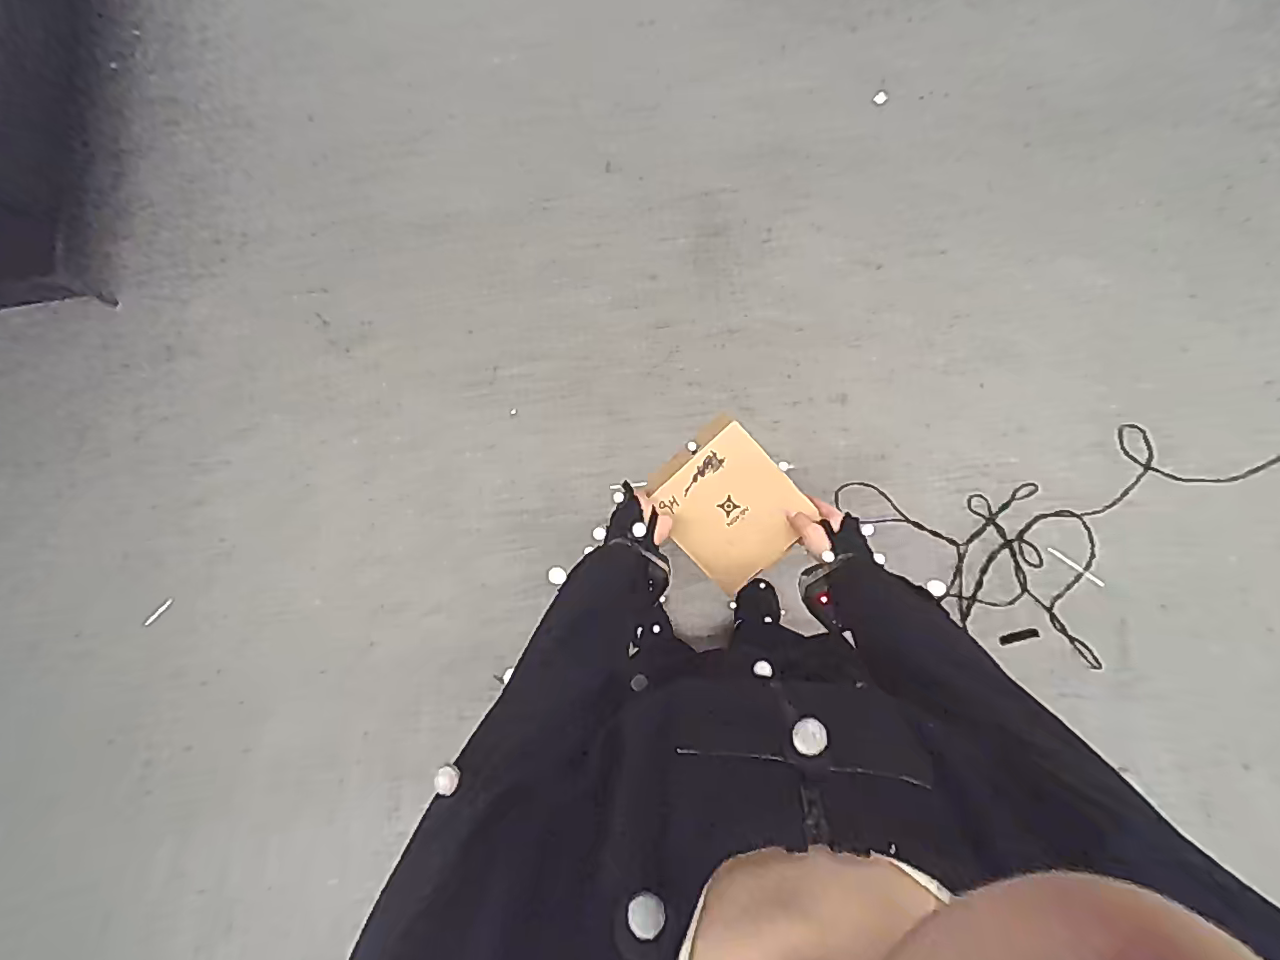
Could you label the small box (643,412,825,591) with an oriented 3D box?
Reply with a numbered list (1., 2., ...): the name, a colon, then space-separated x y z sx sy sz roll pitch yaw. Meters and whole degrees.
1. small box: 0.125 0.018 0.768 0.168 0.176 0.179 -43 95 9
